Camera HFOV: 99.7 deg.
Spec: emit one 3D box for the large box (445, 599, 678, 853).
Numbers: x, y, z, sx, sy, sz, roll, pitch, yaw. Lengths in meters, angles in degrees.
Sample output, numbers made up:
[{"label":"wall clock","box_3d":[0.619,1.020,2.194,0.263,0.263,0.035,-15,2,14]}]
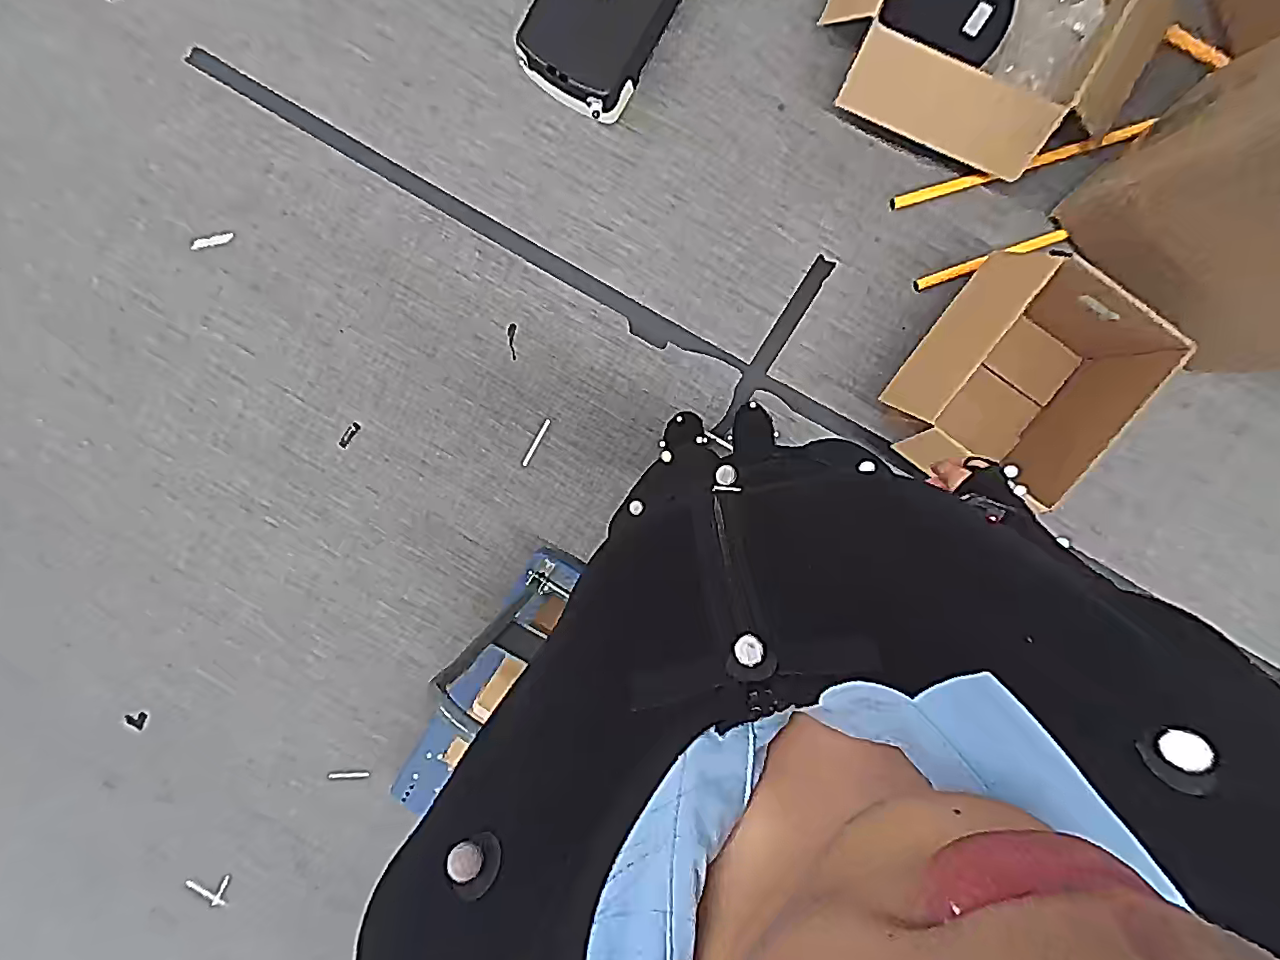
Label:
[{"label":"large box","box_3d":[-0.160,0.555,1.282,0.408,0.320,0.320,33,99,1]}]
